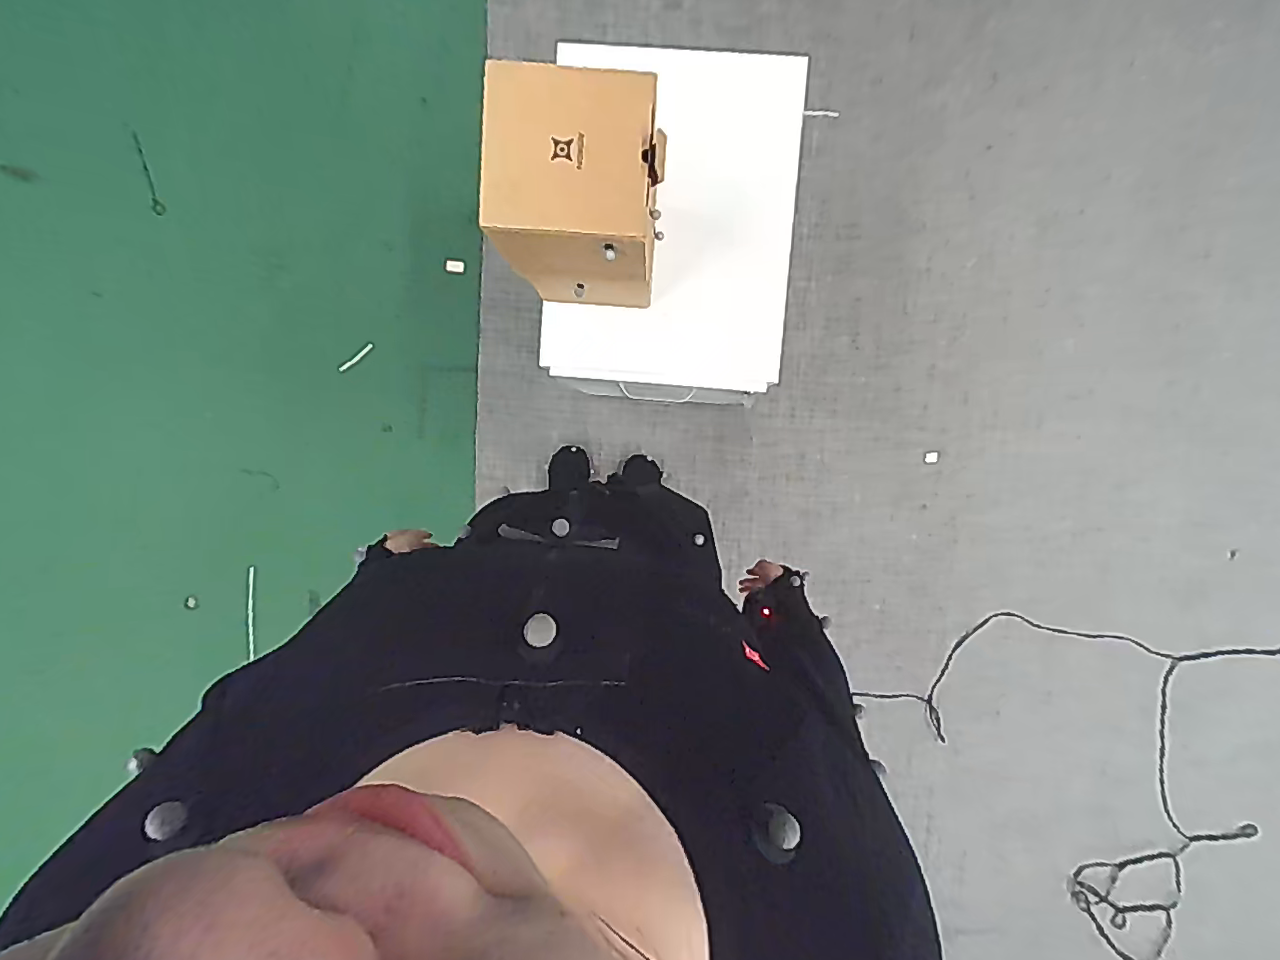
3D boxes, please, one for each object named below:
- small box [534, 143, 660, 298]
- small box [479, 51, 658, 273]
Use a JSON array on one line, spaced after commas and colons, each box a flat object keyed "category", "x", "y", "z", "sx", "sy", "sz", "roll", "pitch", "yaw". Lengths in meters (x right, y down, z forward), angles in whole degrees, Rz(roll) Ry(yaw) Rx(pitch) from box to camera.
[{"category": "small box", "x": -0.065, "y": -0.370, "z": 0.786, "sx": 0.179, "sy": 0.176, "sz": 0.168, "roll": 4, "pitch": 96, "yaw": 1}, {"category": "small box", "x": -0.072, "y": -0.348, "z": 0.624, "sx": 0.179, "sy": 0.176, "sz": 0.168, "roll": 4, "pitch": 95, "yaw": 0}]
